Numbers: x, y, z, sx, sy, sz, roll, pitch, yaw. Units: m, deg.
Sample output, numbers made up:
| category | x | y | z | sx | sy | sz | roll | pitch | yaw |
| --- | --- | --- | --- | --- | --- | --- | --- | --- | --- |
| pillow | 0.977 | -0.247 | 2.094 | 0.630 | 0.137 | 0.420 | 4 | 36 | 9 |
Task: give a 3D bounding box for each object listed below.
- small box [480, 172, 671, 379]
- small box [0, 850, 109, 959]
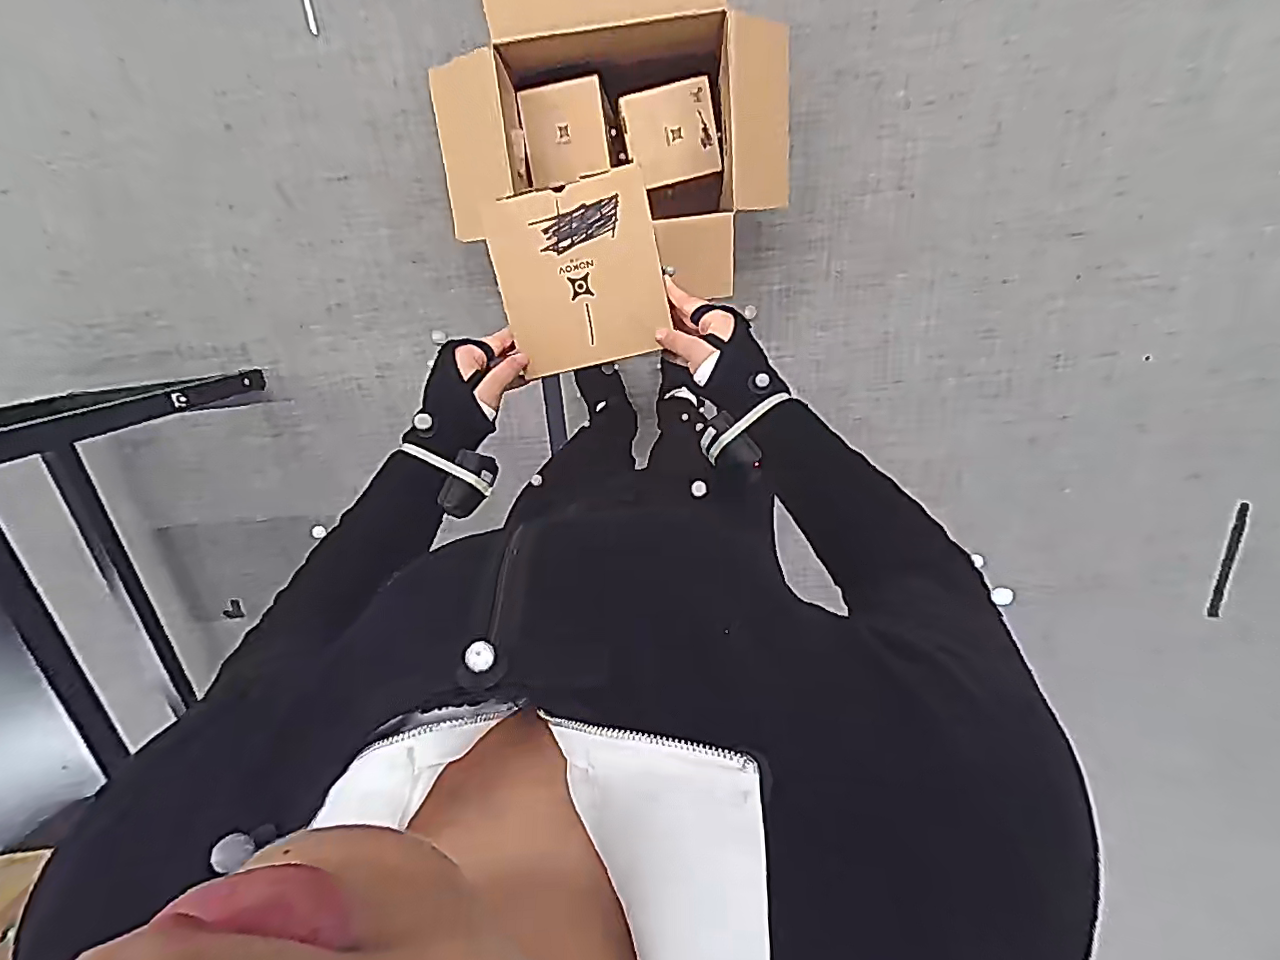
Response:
| category | x | y | z | sx | sy | sz | roll | pitch | yaw |
| --- | --- | --- | --- | --- | --- | --- | --- | --- | --- |
| small box | -0.062 | -0.223 | 0.629 | 0.168 | 0.176 | 0.179 | -12 | 104 | 6 |
| small box | -1.194 | 0.836 | 1.026 | 0.168 | 0.176 | 0.179 | -11 | 110 | 8 |
